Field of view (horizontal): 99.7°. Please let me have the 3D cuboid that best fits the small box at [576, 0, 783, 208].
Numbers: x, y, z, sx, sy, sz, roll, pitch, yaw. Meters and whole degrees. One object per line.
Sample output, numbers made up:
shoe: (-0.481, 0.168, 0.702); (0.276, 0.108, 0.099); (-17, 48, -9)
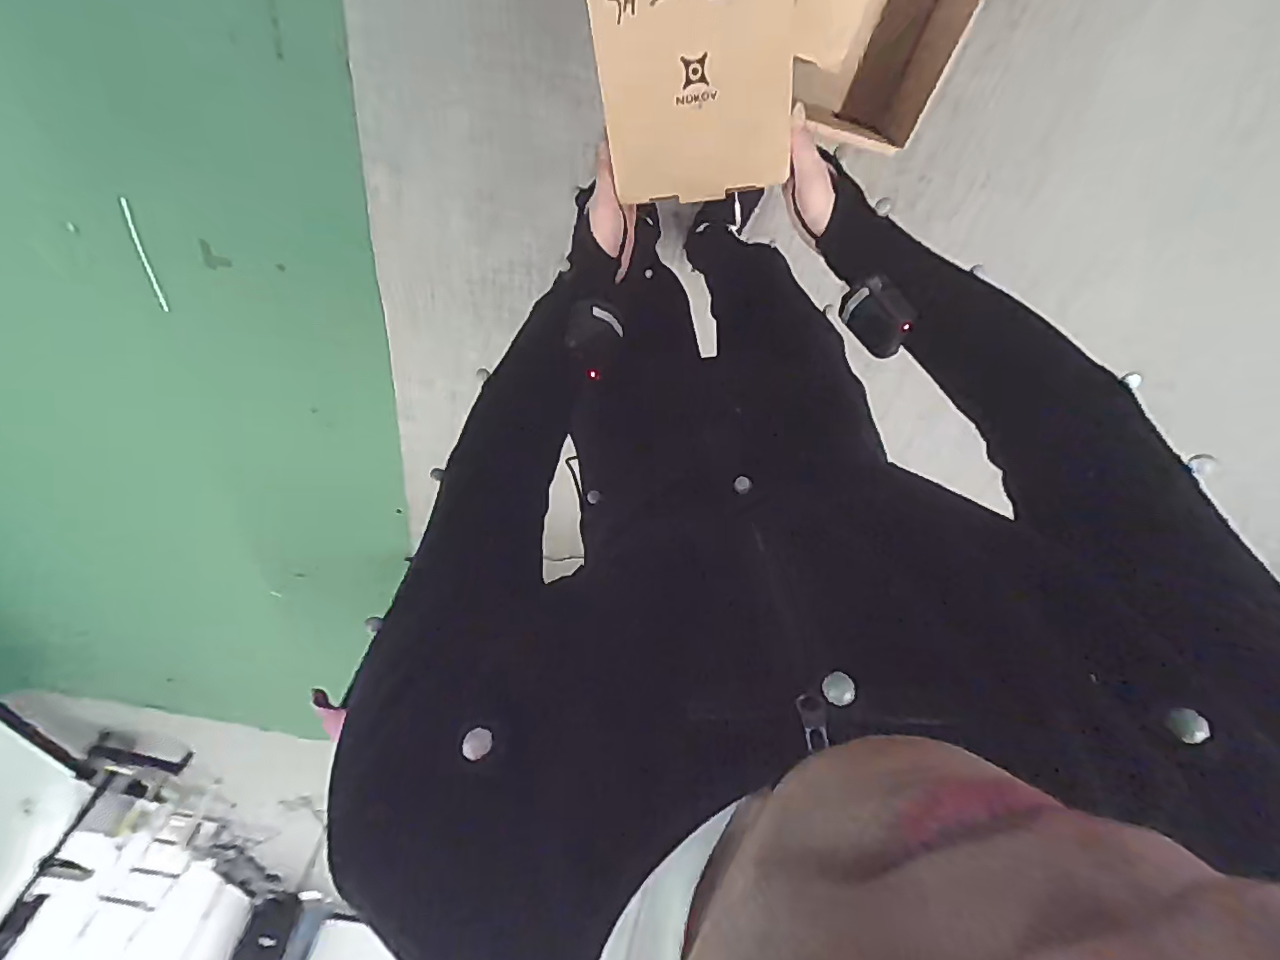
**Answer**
small box: (0.048, -0.389, 0.526); (0.168, 0.176, 0.179); (-4, 128, 11)
